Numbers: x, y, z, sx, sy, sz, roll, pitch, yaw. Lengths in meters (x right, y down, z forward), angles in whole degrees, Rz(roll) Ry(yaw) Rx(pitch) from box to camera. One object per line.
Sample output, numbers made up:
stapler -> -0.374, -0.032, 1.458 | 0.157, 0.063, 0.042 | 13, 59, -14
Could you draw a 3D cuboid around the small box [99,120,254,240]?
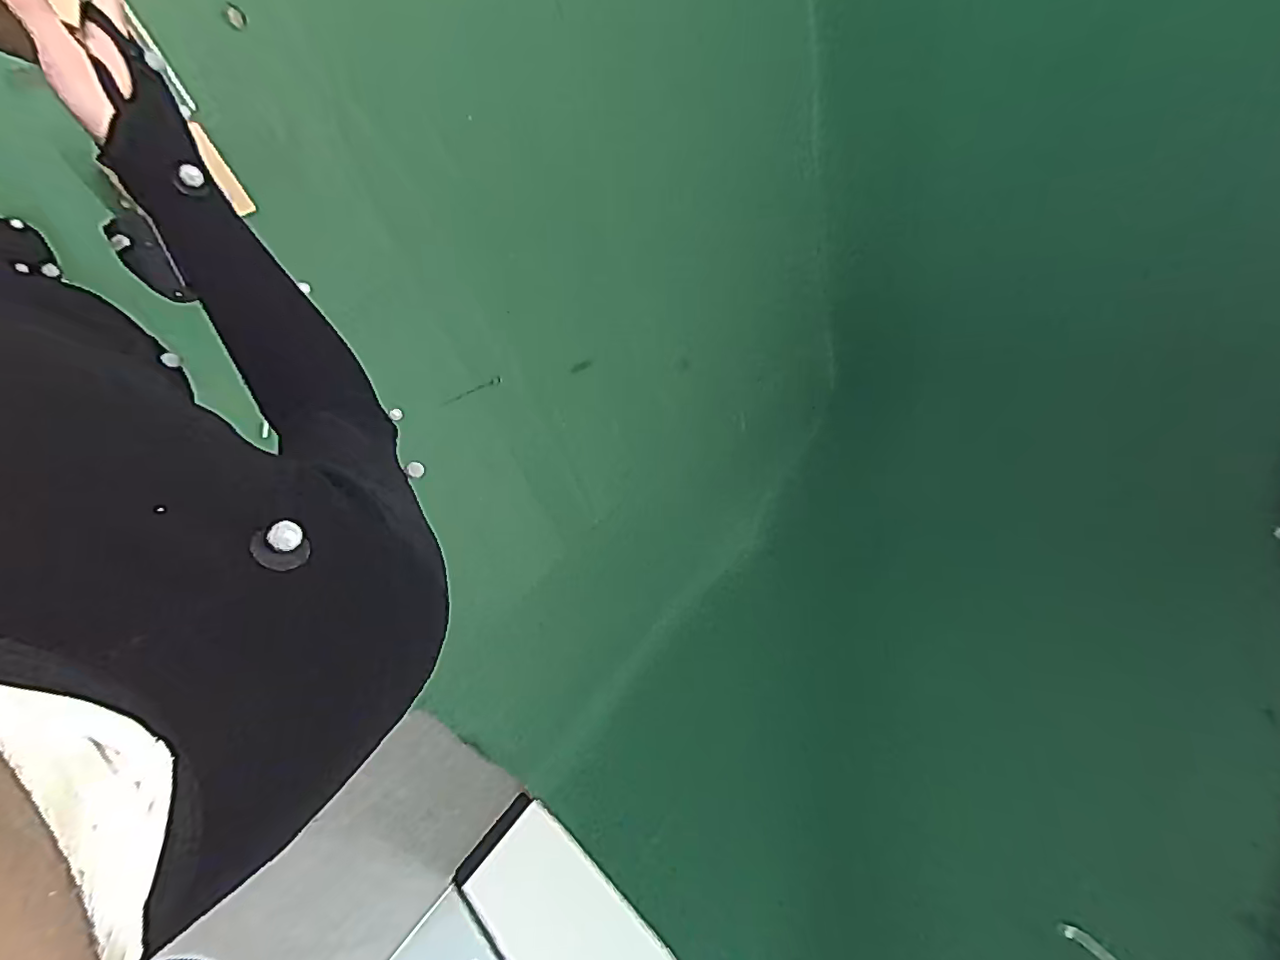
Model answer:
small box -> -0.944, -0.609, 1.101 | 0.179, 0.176, 0.168 | -42, 135, -25
